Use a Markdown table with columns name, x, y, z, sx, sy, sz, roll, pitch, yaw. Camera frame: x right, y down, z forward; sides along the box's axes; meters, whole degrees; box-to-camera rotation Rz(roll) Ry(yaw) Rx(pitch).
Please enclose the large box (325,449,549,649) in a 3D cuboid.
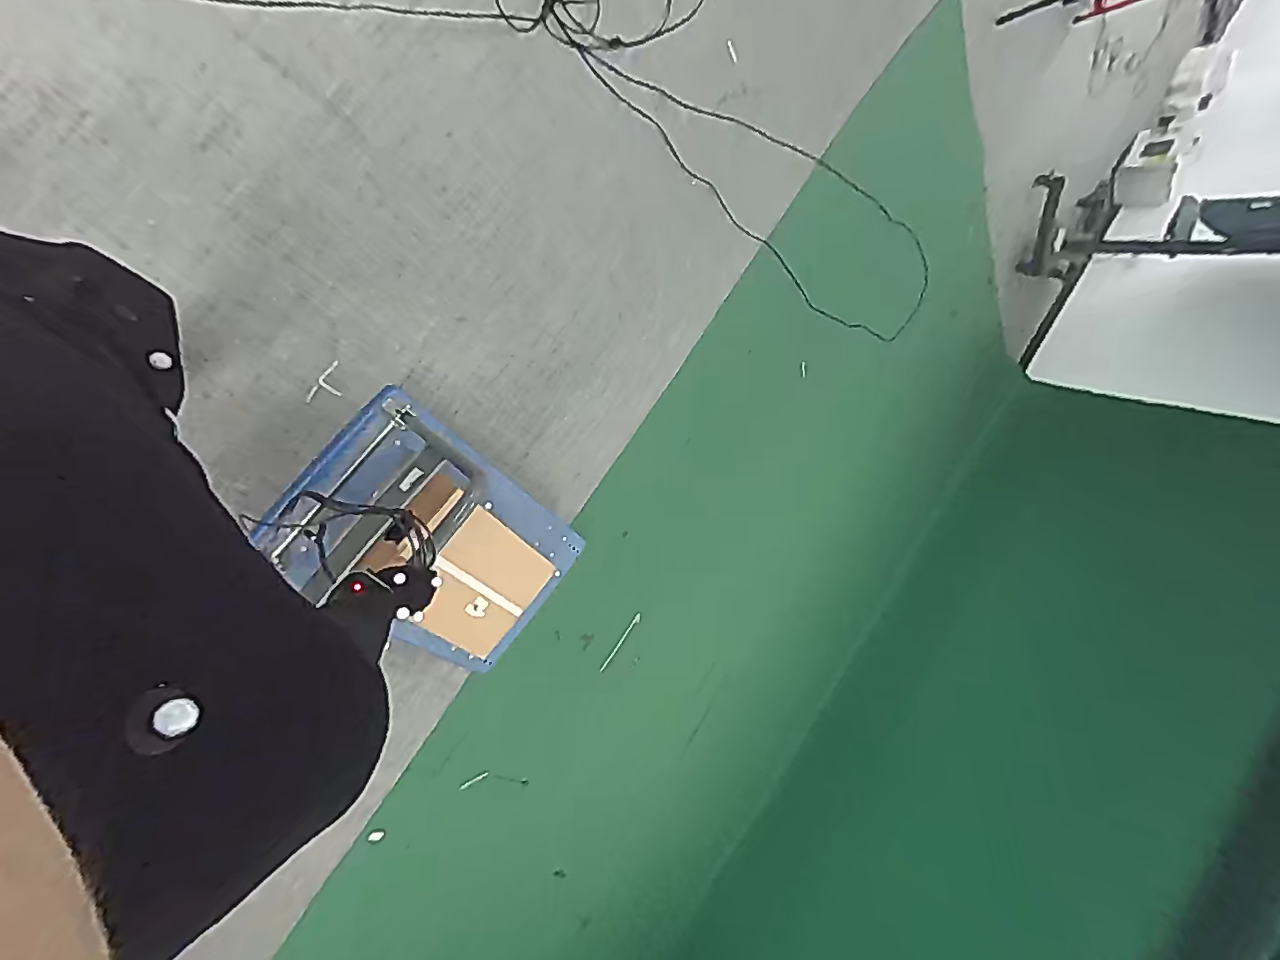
| name | x | y | z | sx | sy | sz | roll | pitch | yaw |
| --- | --- | --- | --- | --- | --- | --- | --- | --- | --- |
| large box | -0.533 | 0.180 | 1.443 | 0.320 | 0.320 | 0.408 | -50 | 134 | -12 |
